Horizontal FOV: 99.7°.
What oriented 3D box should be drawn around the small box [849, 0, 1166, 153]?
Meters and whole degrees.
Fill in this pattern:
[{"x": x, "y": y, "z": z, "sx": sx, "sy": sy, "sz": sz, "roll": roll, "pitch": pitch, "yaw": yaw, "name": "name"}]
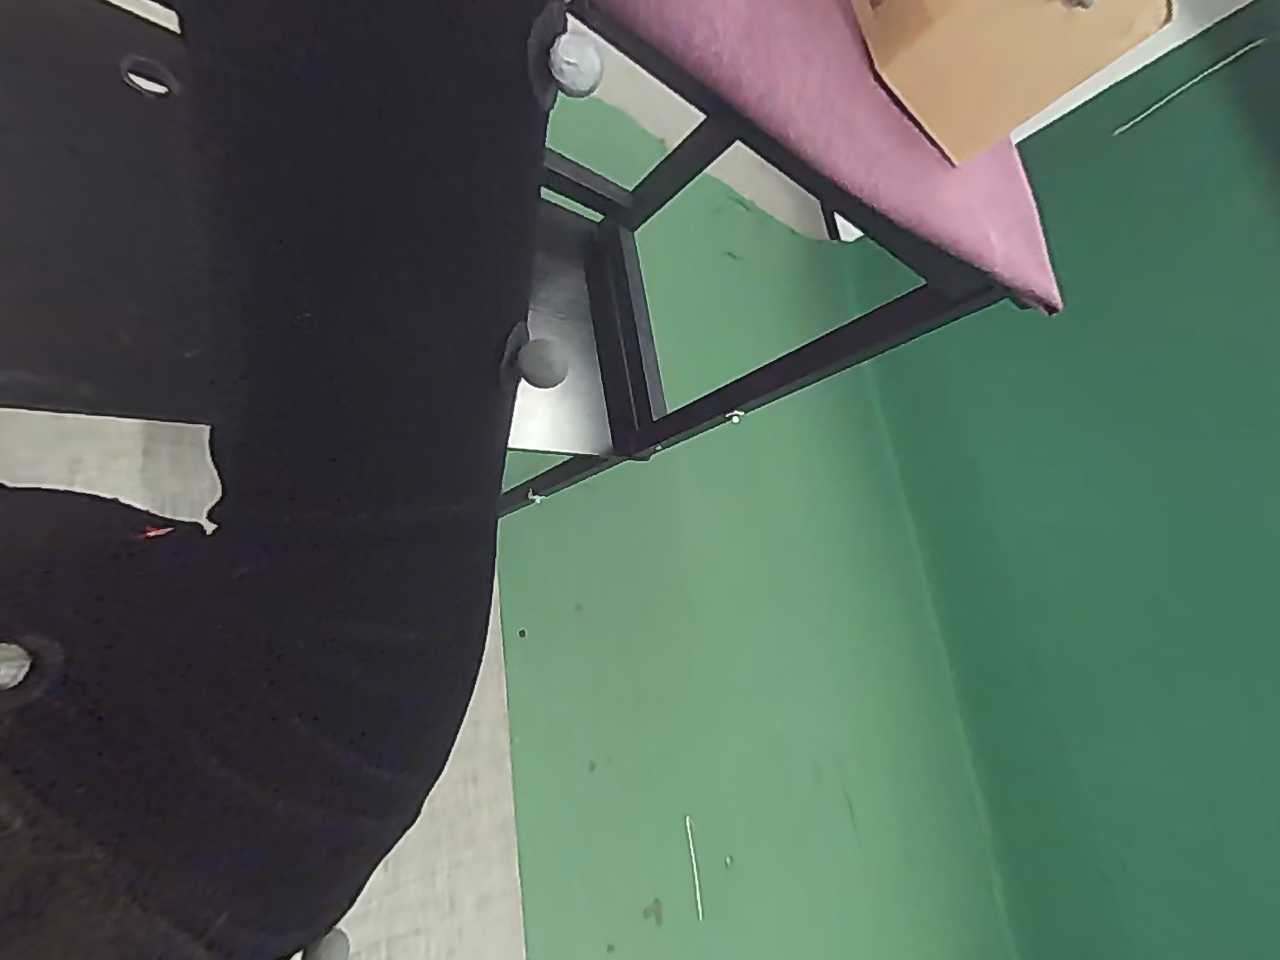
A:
[{"x": 0.287, "y": -0.423, "z": 0.452, "sx": 0.179, "sy": 0.176, "sz": 0.168, "roll": 5, "pitch": 70, "yaw": -42, "name": "small box"}]
